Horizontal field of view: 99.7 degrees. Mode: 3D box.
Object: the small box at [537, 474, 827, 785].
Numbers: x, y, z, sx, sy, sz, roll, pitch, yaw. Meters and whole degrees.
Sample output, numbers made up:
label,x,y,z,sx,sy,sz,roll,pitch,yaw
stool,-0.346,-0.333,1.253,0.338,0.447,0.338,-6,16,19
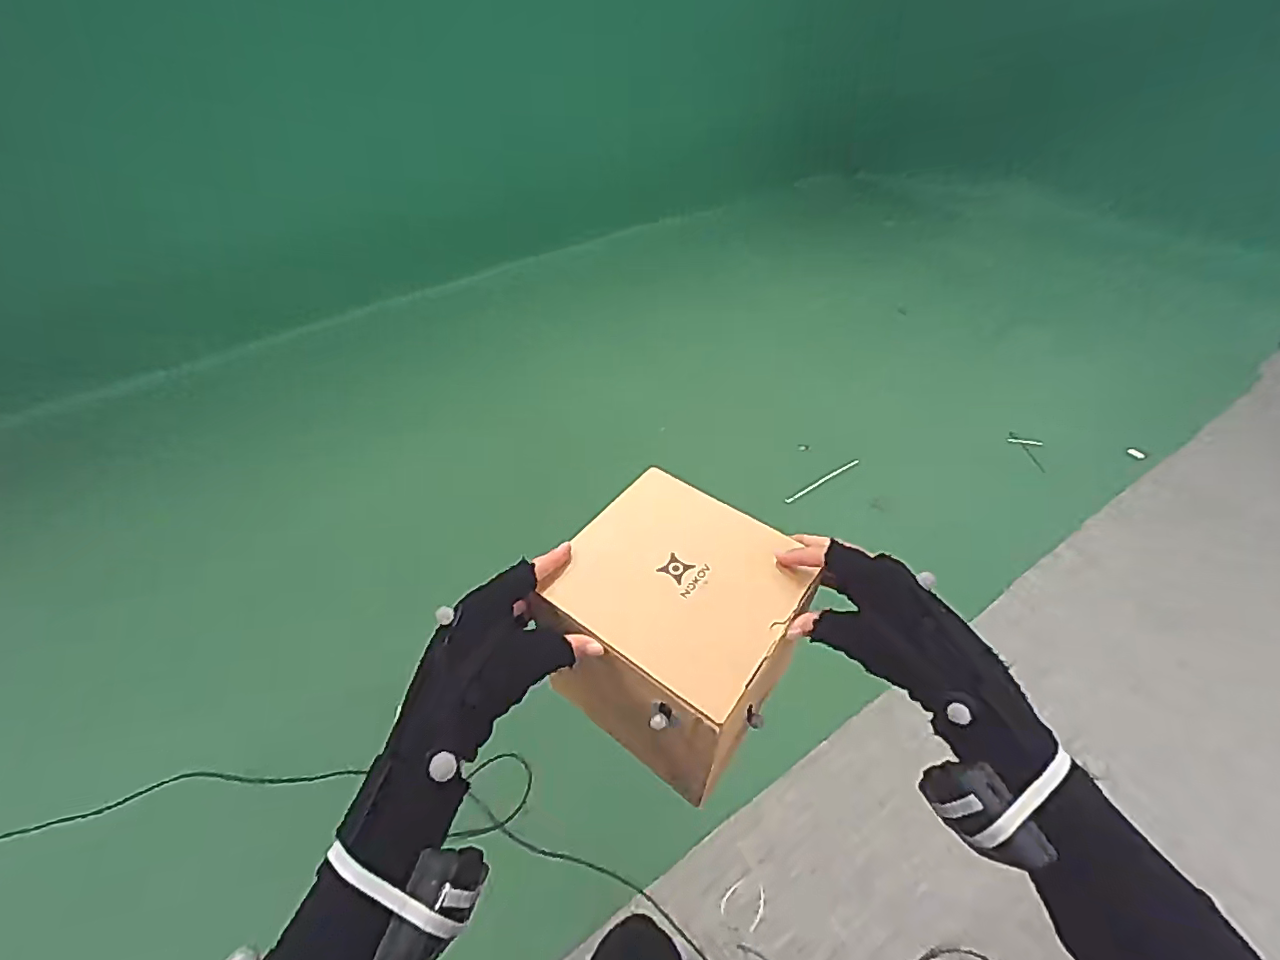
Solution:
label,x,y,z,sx,sy,sz,roll,pitch,yaw
small box,0.032,0.131,0.482,0.179,0.176,0.168,29,51,24
